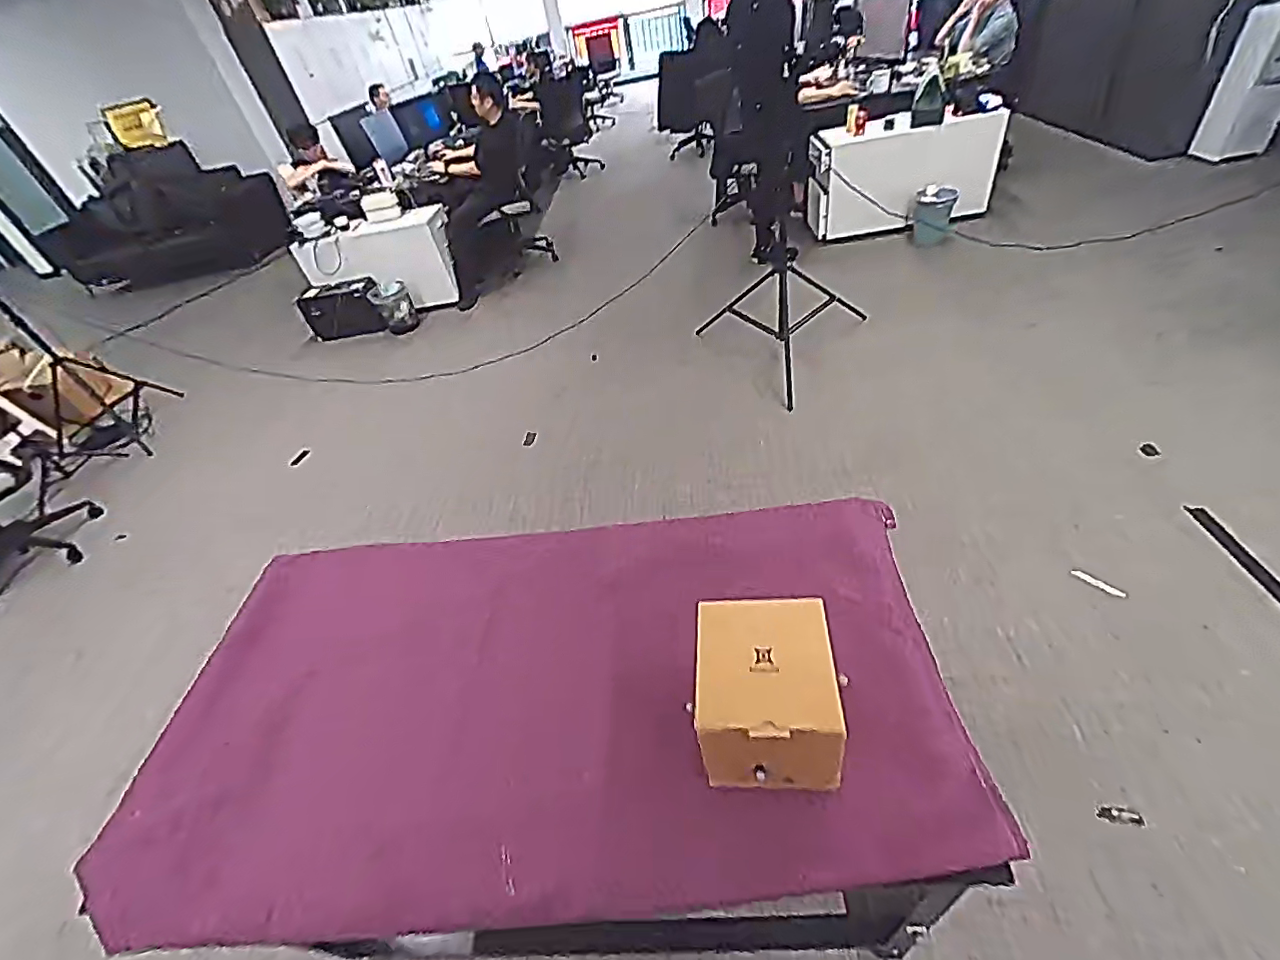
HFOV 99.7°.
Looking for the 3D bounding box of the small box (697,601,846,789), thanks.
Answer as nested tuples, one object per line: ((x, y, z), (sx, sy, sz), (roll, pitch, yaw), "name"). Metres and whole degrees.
((0.166, 0.280, 0.713), (0.168, 0.176, 0.179), (-4, 42, 11), "small box")
